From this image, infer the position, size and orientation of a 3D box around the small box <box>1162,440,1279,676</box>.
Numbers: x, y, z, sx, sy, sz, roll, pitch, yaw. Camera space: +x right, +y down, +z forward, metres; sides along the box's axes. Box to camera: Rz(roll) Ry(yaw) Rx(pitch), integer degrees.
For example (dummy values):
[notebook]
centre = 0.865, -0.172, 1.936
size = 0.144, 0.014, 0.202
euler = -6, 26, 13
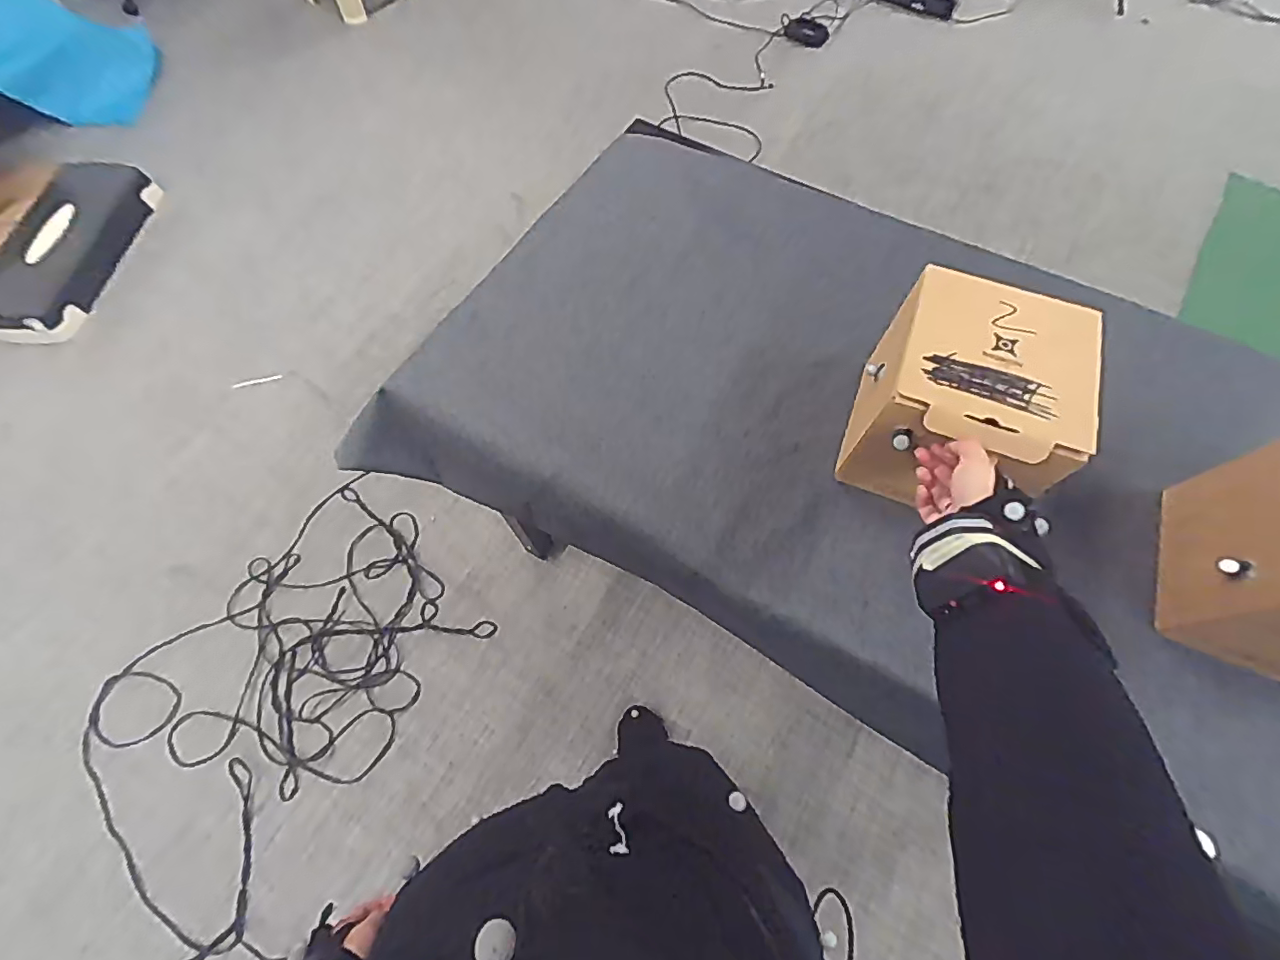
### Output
[small box]
centre = 0.629, 0.080, 0.488
size = 0.168, 0.176, 0.179
euler = 23, 66, 9
